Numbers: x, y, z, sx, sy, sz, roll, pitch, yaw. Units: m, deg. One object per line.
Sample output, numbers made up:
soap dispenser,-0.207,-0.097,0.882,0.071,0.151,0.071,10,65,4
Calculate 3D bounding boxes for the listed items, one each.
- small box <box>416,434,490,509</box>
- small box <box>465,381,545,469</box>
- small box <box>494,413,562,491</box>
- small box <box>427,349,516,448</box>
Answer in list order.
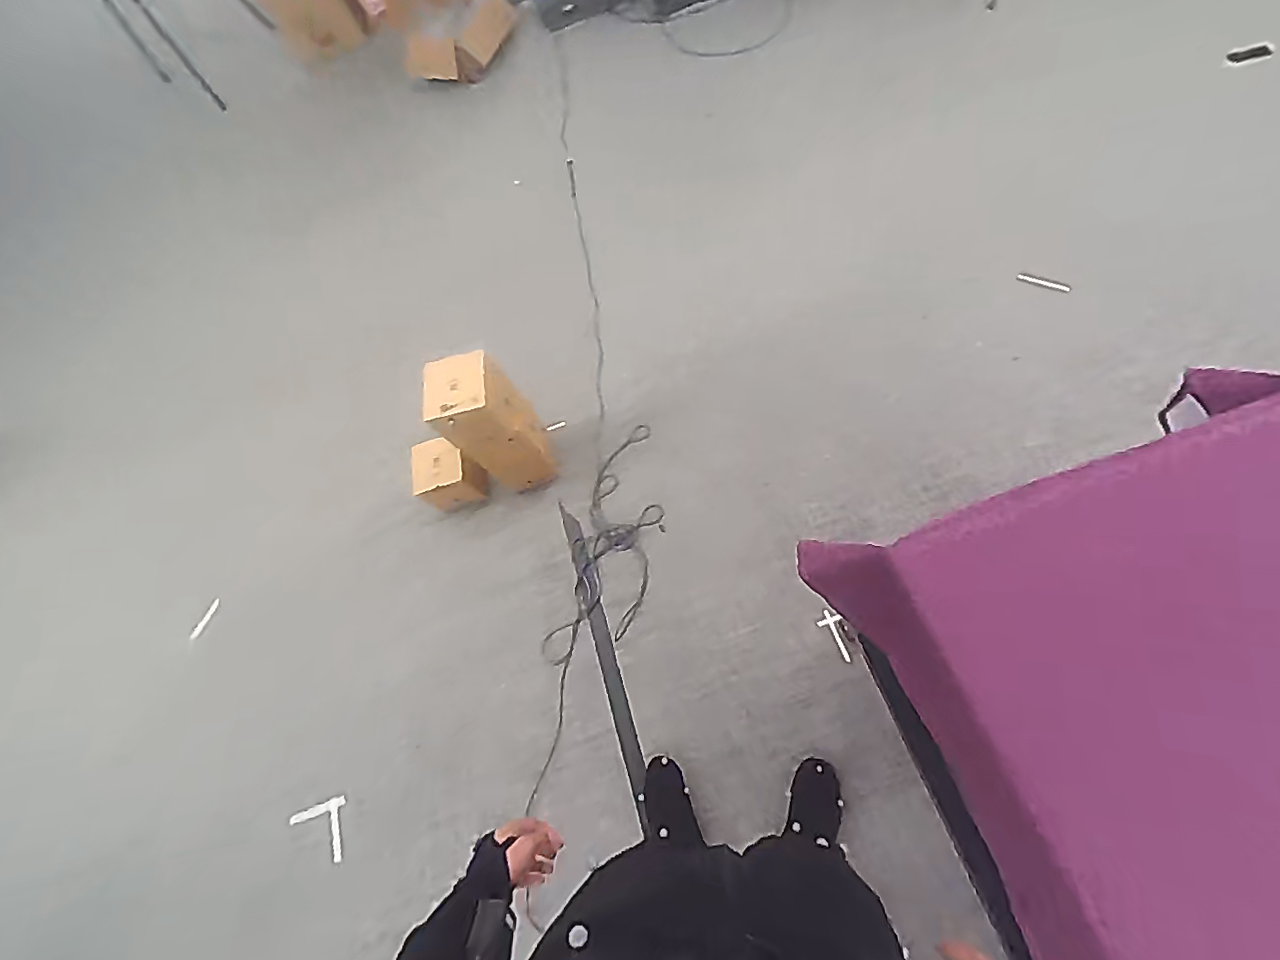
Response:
small box,-0.599,-0.029,1.738,0.168,0.176,0.179,-16,66,7
small box,-0.396,-0.151,1.564,0.179,0.176,0.168,-19,65,6
small box,-0.362,-0.092,1.711,0.168,0.176,0.179,-20,66,5
small box,-0.433,-0.209,1.414,0.168,0.176,0.179,-12,65,9
